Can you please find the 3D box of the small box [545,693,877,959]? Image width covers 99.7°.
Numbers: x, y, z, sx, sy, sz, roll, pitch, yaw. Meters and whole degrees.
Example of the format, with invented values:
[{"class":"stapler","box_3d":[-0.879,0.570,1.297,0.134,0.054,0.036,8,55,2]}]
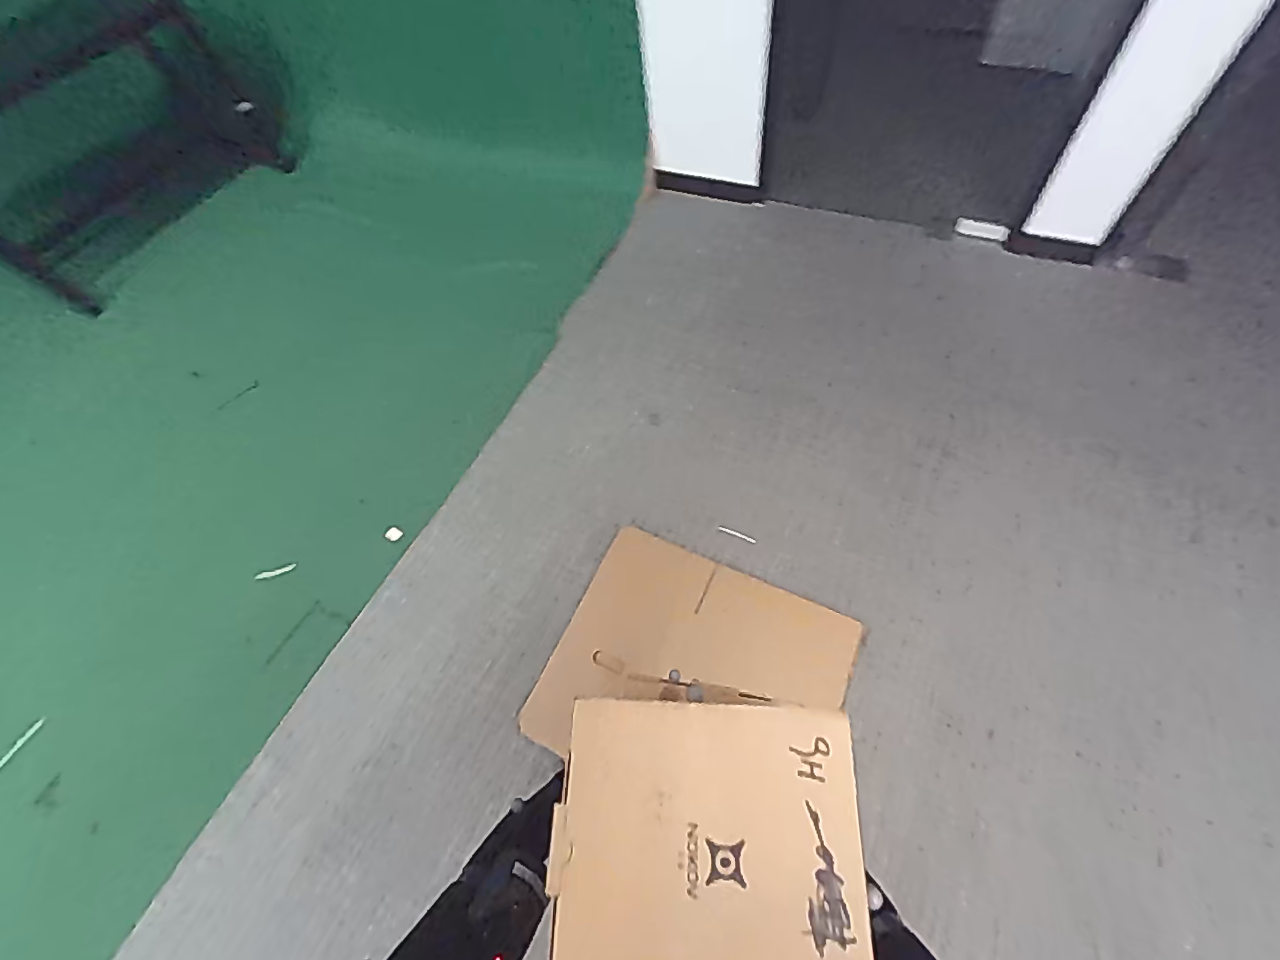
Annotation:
[{"class":"small box","box_3d":[0.042,0.246,0.374,0.179,0.176,0.168,2,65,2]}]
